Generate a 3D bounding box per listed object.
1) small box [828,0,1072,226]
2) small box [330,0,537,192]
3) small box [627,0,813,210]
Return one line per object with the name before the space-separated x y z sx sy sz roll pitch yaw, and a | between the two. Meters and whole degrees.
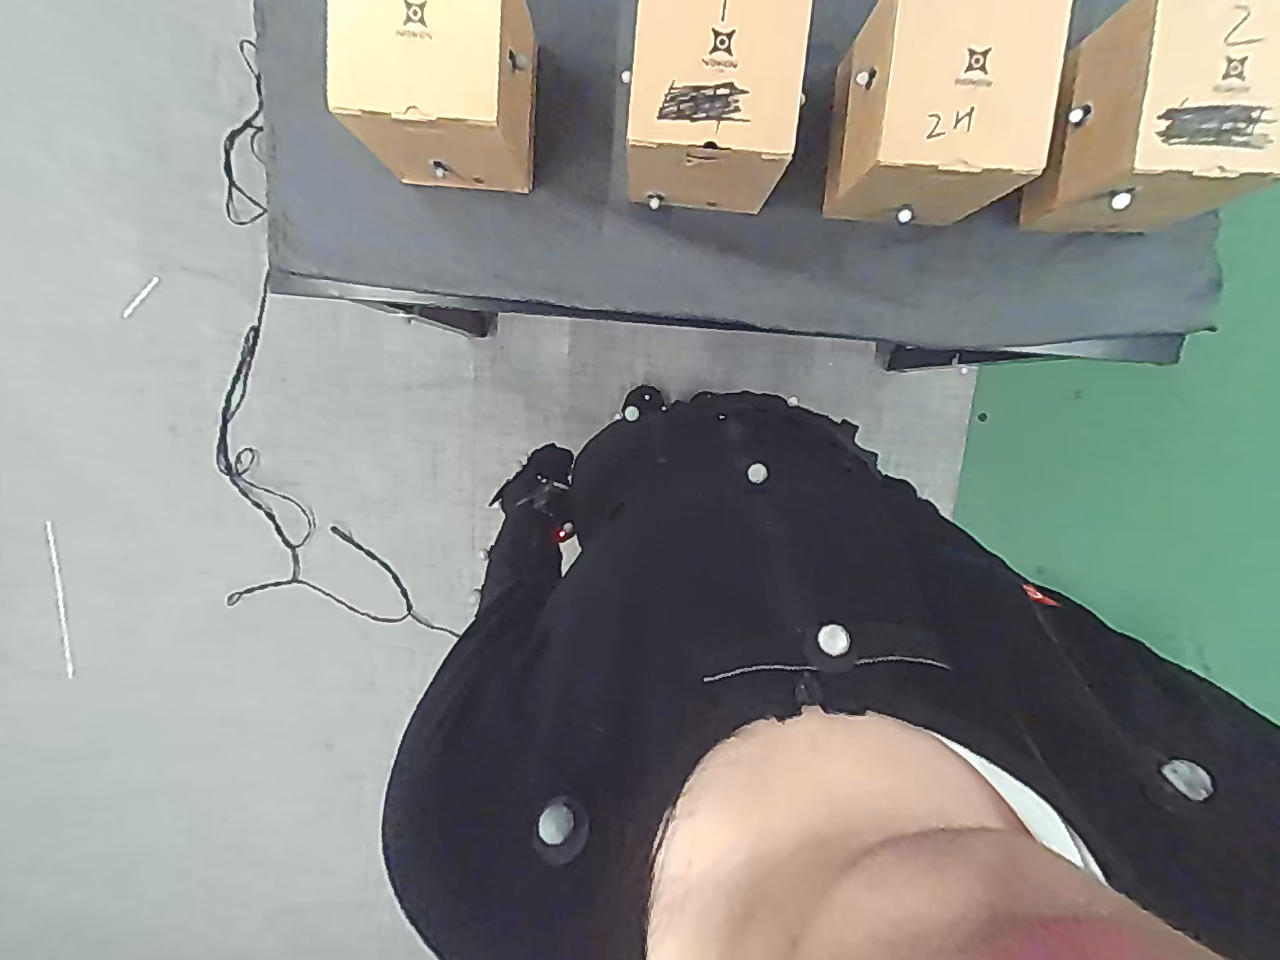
small box | 0.319 -0.402 0.594 0.168 0.176 0.179 3 99 1
small box | -0.210 -0.444 0.589 0.168 0.176 0.179 4 98 -1
small box | 0.077 -0.417 0.593 0.168 0.176 0.179 5 98 -1
